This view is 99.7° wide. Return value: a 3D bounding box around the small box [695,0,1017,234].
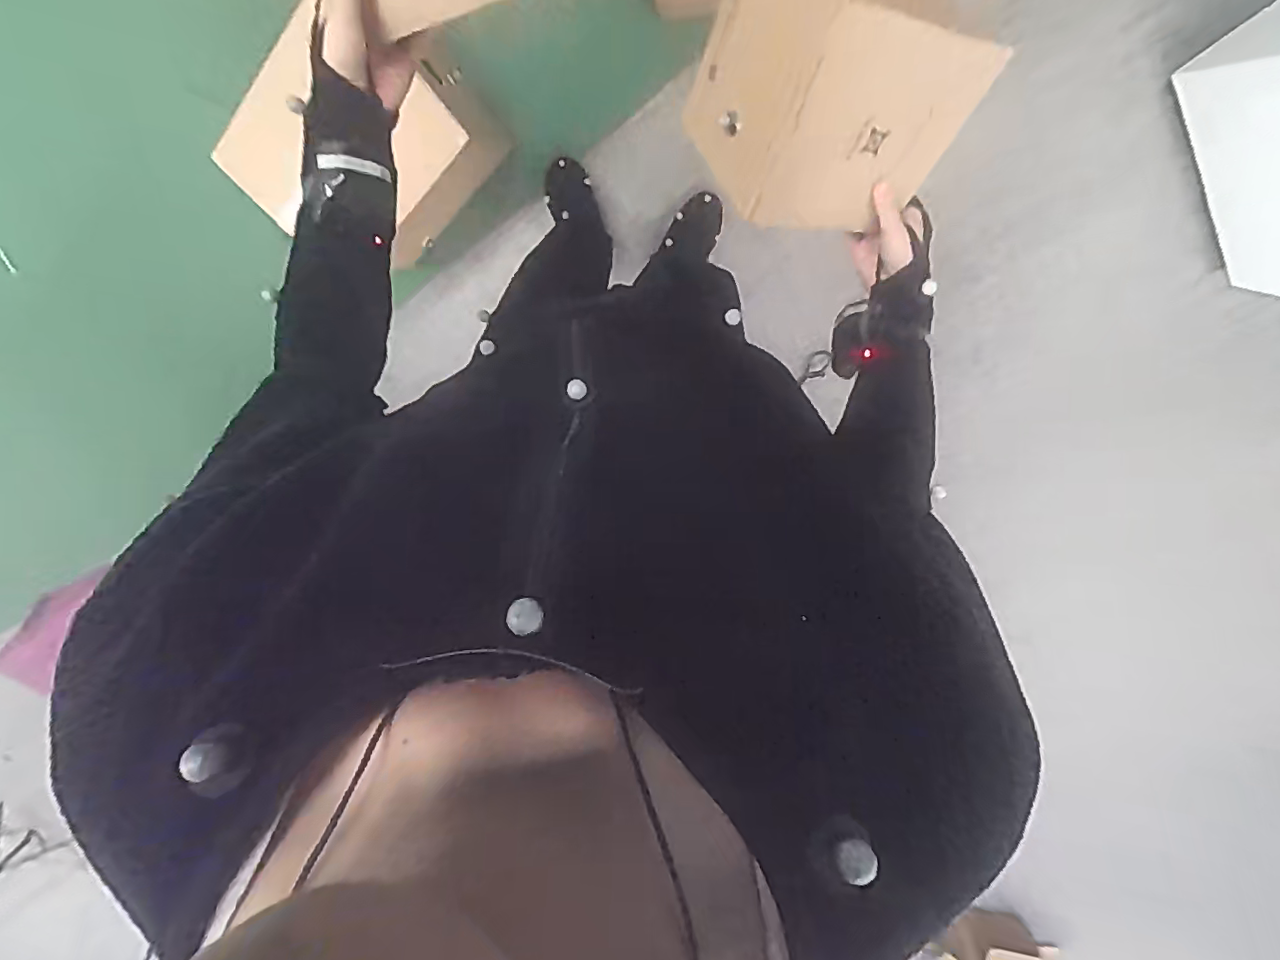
[{"bbox_3d":[0.172,-0.354,0.490,0.179,0.176,0.168,-7,150,-24],"label":"small box"}]
